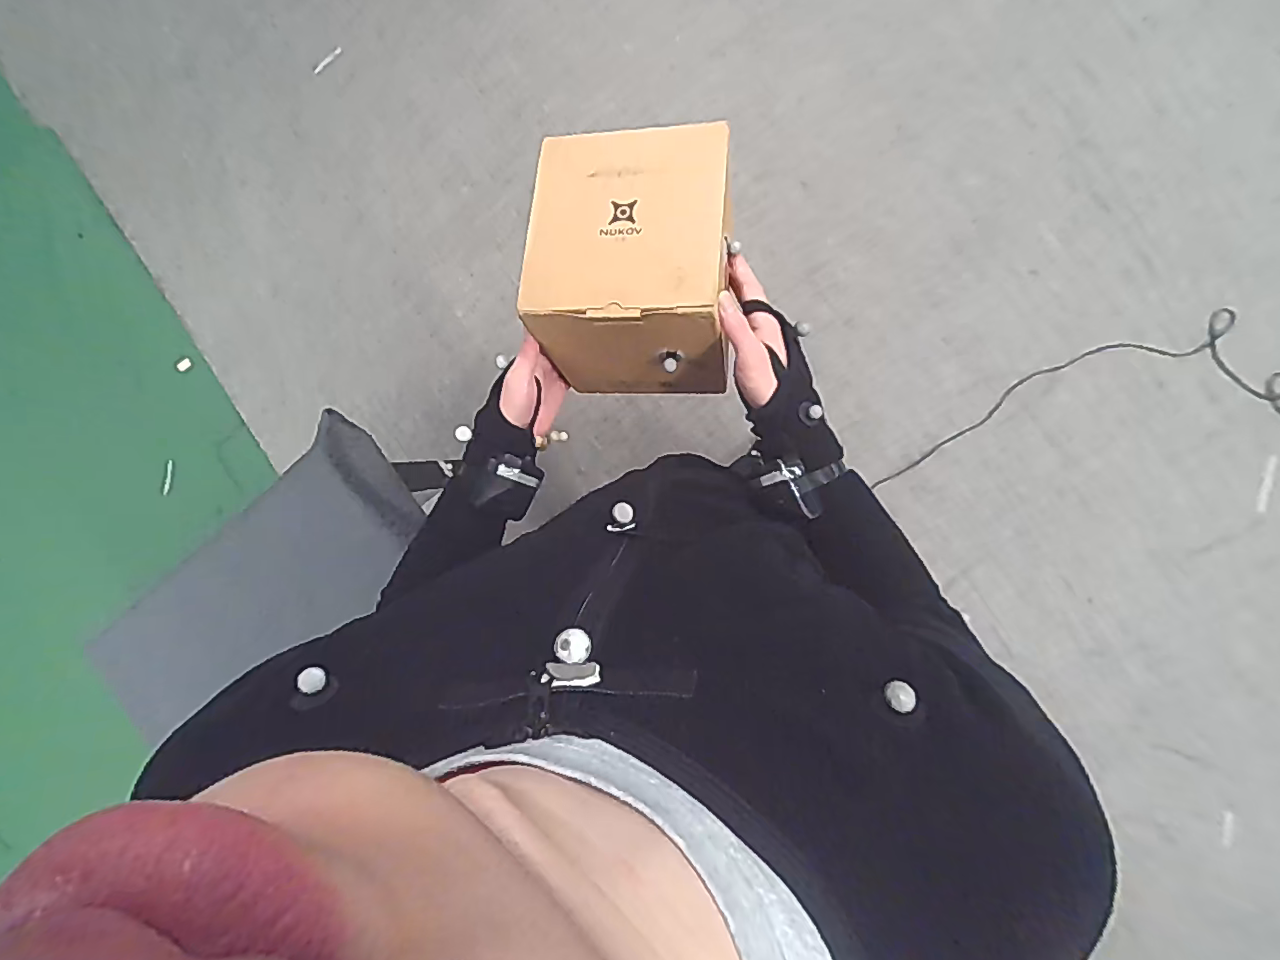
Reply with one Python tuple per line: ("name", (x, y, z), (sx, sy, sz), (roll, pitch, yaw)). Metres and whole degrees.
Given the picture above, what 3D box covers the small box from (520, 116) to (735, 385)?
("small box", (0.003, -0.201, 0.518), (0.168, 0.176, 0.179), (3, 76, 10))
